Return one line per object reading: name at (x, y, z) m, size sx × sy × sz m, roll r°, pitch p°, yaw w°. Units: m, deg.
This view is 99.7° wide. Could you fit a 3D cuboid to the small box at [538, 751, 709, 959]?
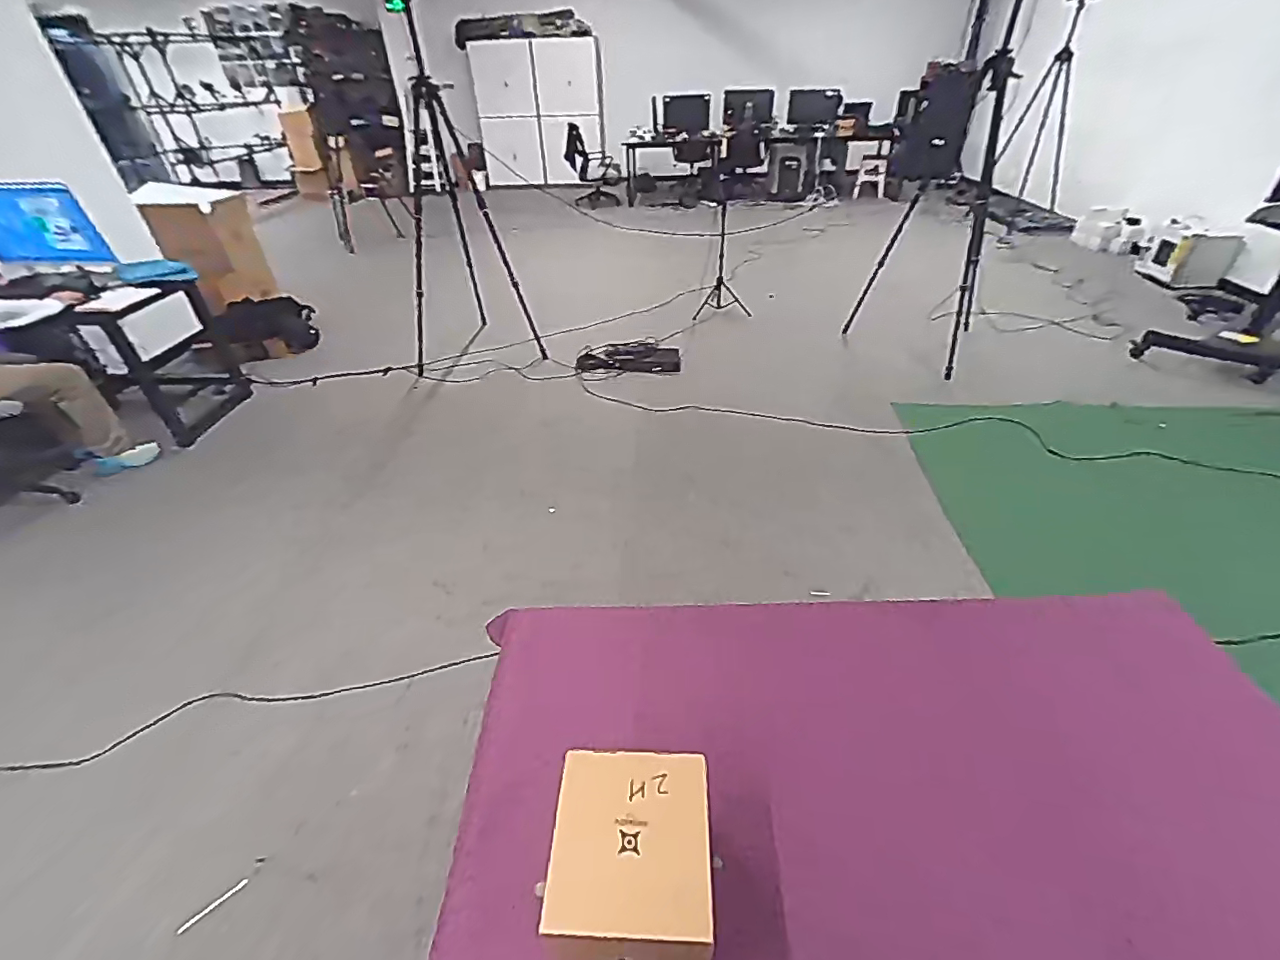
small box at (-0.008, 0.438, 0.616) m, size 0.168 × 0.176 × 0.179 m, roll 1°, pitch 37°, yaw 3°
